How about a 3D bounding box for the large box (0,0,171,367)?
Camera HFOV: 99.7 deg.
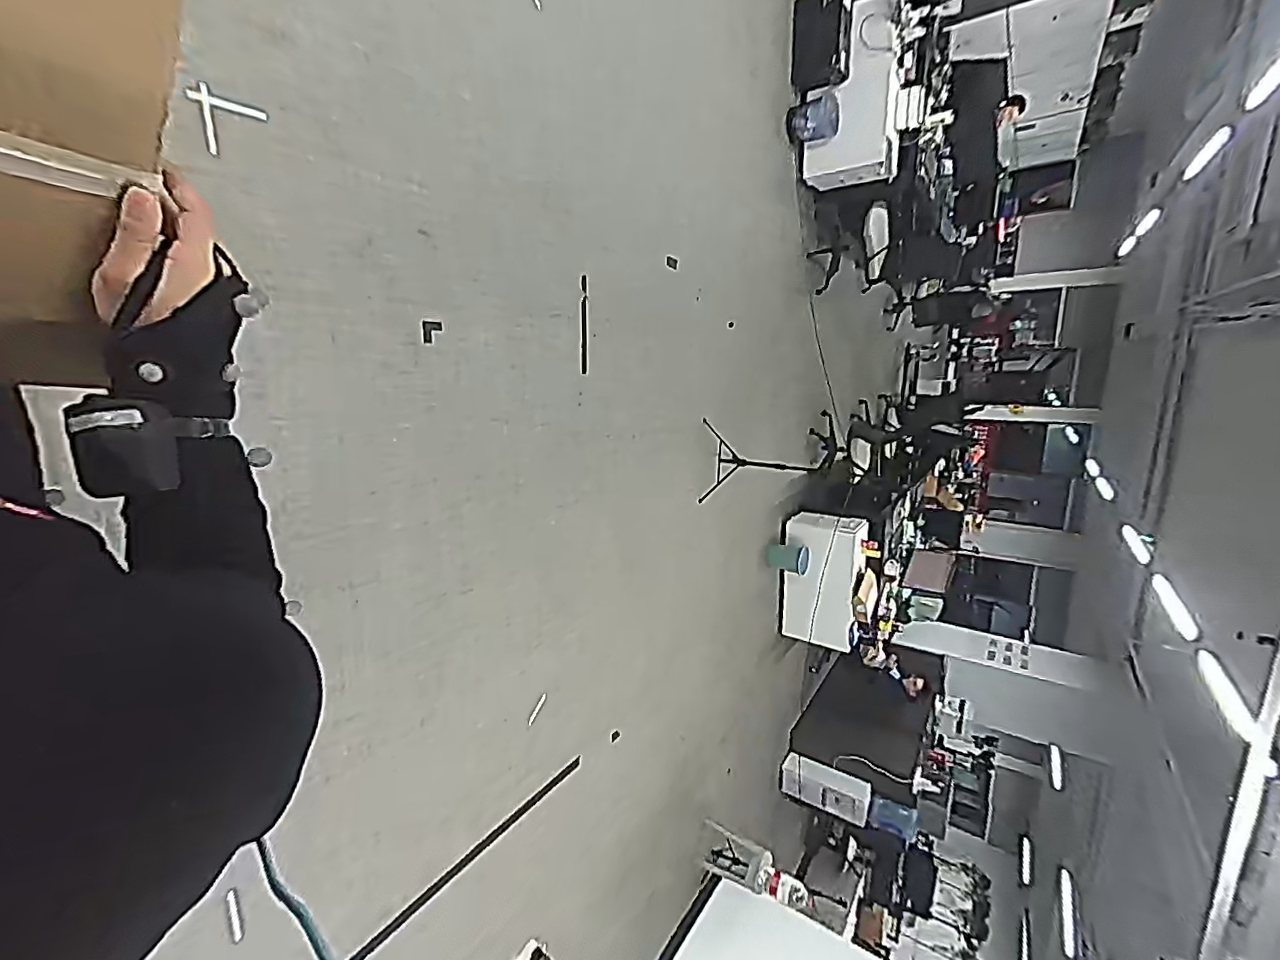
[{"bbox_3d":[-0.515,-0.278,0.235,0.408,0.320,0.320,-8,143,-54],"label":"large box"}]
